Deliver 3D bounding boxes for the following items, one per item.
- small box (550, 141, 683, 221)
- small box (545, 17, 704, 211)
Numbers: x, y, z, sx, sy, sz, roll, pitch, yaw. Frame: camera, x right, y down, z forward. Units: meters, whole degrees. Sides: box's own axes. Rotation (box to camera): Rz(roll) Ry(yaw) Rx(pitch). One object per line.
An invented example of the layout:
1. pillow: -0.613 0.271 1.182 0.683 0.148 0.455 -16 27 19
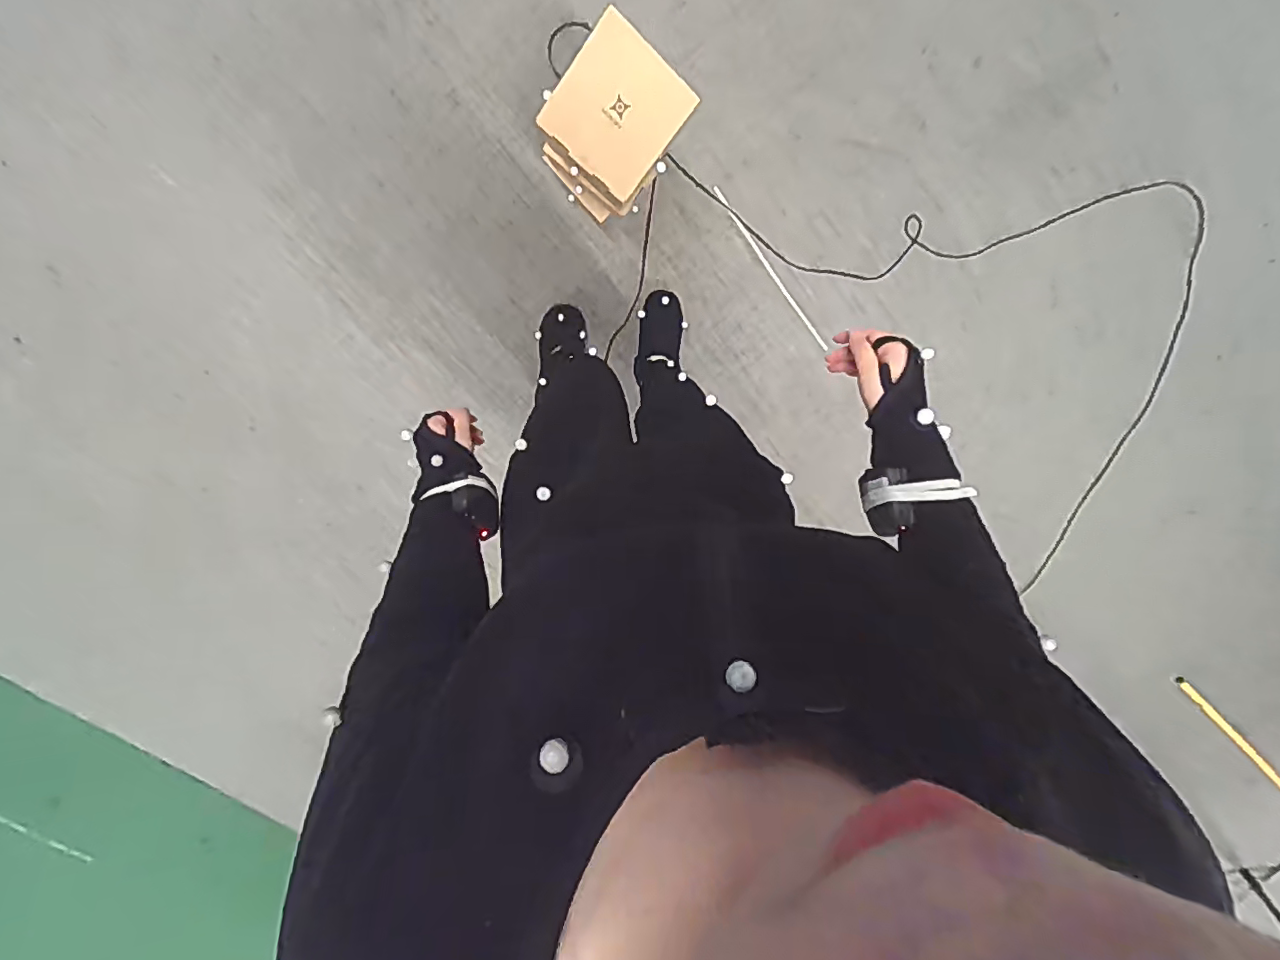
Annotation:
1. small box: -0.041 -0.608 1.004 0.179 0.176 0.168 34 108 -14
2. small box: -0.027 -0.555 0.850 0.168 0.176 0.179 37 108 -16
